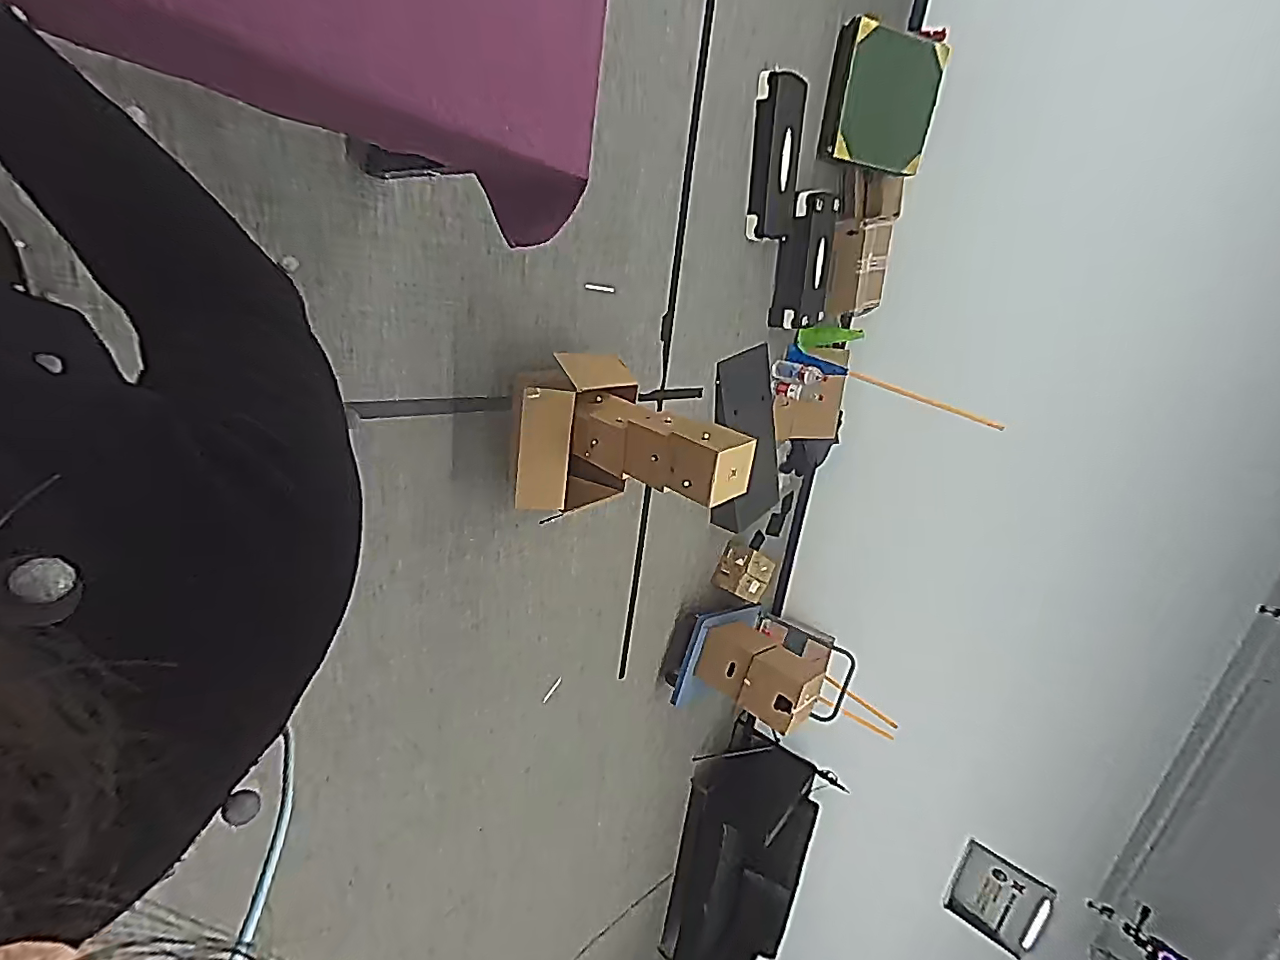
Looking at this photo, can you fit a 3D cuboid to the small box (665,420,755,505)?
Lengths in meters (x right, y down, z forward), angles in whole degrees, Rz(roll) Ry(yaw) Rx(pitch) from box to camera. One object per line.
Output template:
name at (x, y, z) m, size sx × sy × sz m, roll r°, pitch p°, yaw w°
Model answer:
small box at (0.188, -0.053, 1.490) m, size 0.179 × 0.176 × 0.168 m, roll -20°, pitch 126°, yaw -42°

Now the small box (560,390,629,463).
small box at (-0.152, -0.189, 1.822) m, size 0.168 × 0.176 × 0.179 m, roll -34°, pitch 135°, yaw -33°

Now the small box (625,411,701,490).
small box at (0.071, -0.095, 1.596) m, size 0.168 × 0.176 × 0.179 m, roll -20°, pitch 125°, yaw -41°
